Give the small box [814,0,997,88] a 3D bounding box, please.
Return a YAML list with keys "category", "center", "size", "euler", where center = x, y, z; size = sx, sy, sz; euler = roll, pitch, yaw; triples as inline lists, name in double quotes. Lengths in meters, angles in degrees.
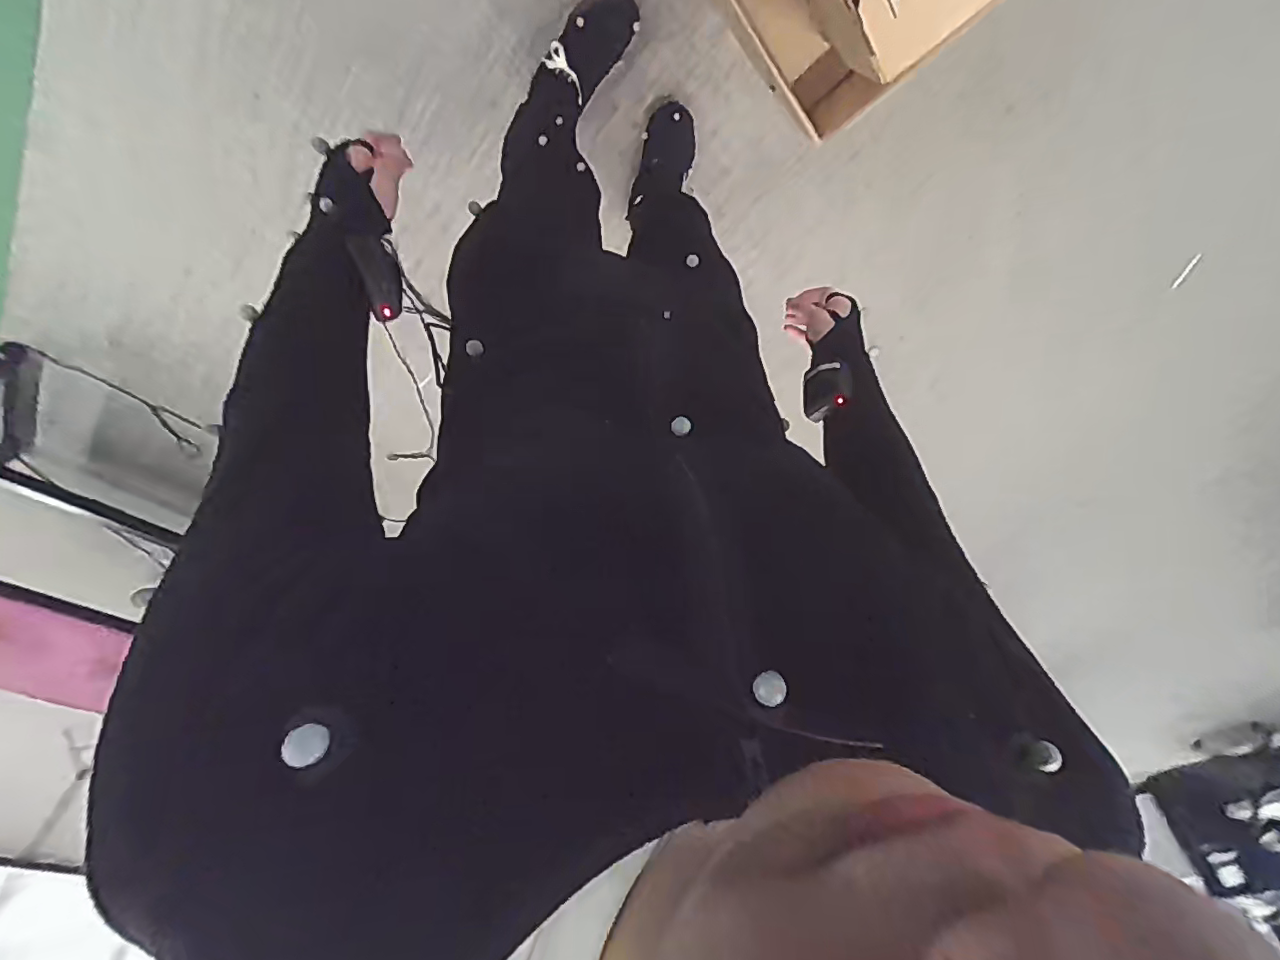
- category: "small box"
  center: [0.267, -0.542, 0.539]
  size: [0.179, 0.176, 0.168]
  euler: [-30, 126, 26]
